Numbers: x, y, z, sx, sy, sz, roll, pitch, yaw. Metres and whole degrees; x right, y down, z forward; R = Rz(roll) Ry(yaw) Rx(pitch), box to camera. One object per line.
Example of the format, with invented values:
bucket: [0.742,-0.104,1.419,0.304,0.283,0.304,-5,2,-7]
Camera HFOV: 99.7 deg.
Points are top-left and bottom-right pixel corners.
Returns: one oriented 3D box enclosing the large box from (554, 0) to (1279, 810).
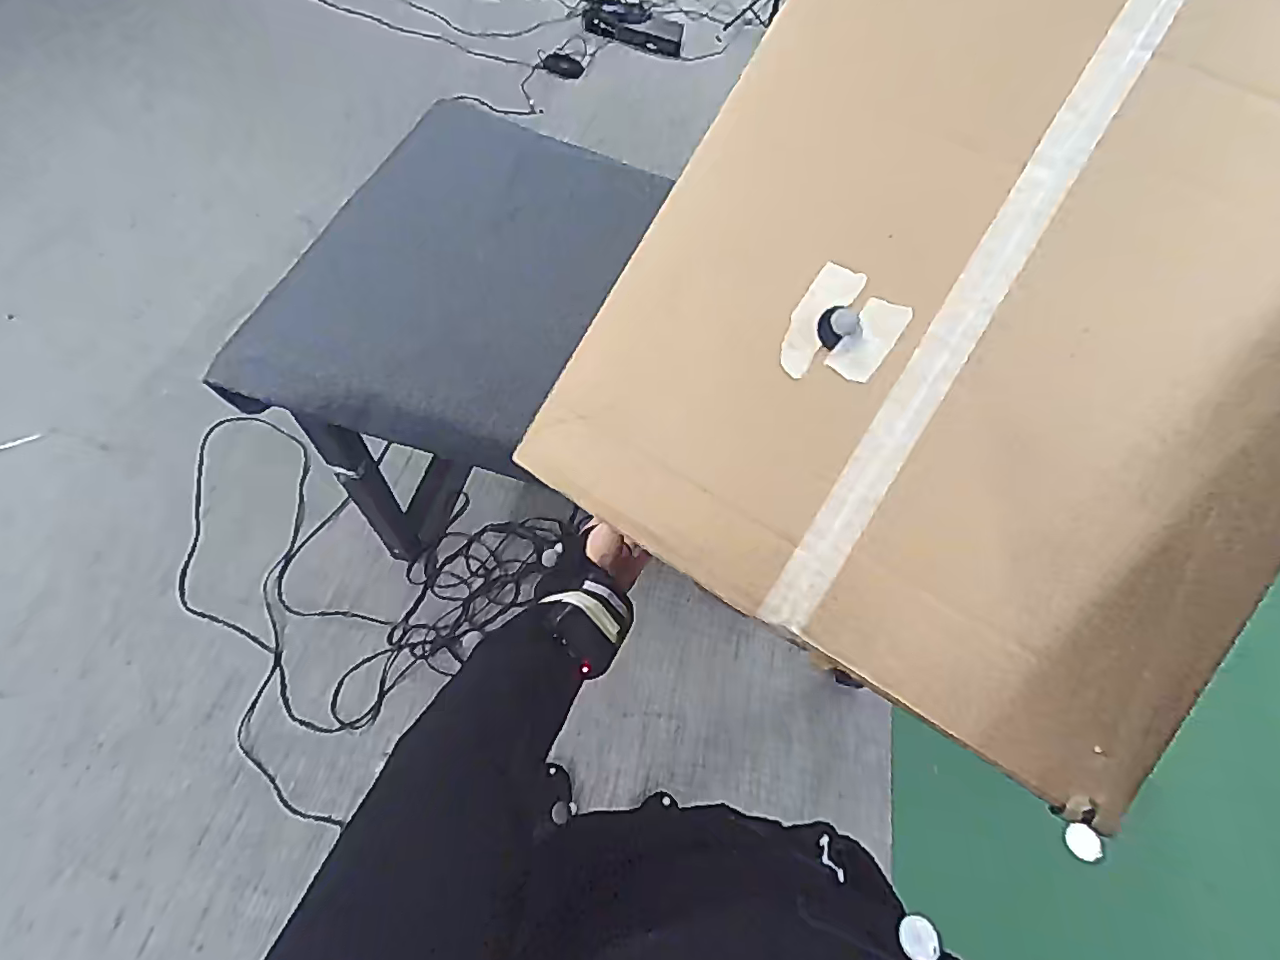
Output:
large box: [0.200,-0.083,0.417,0.320,0.320,0.408,30,92,12]
